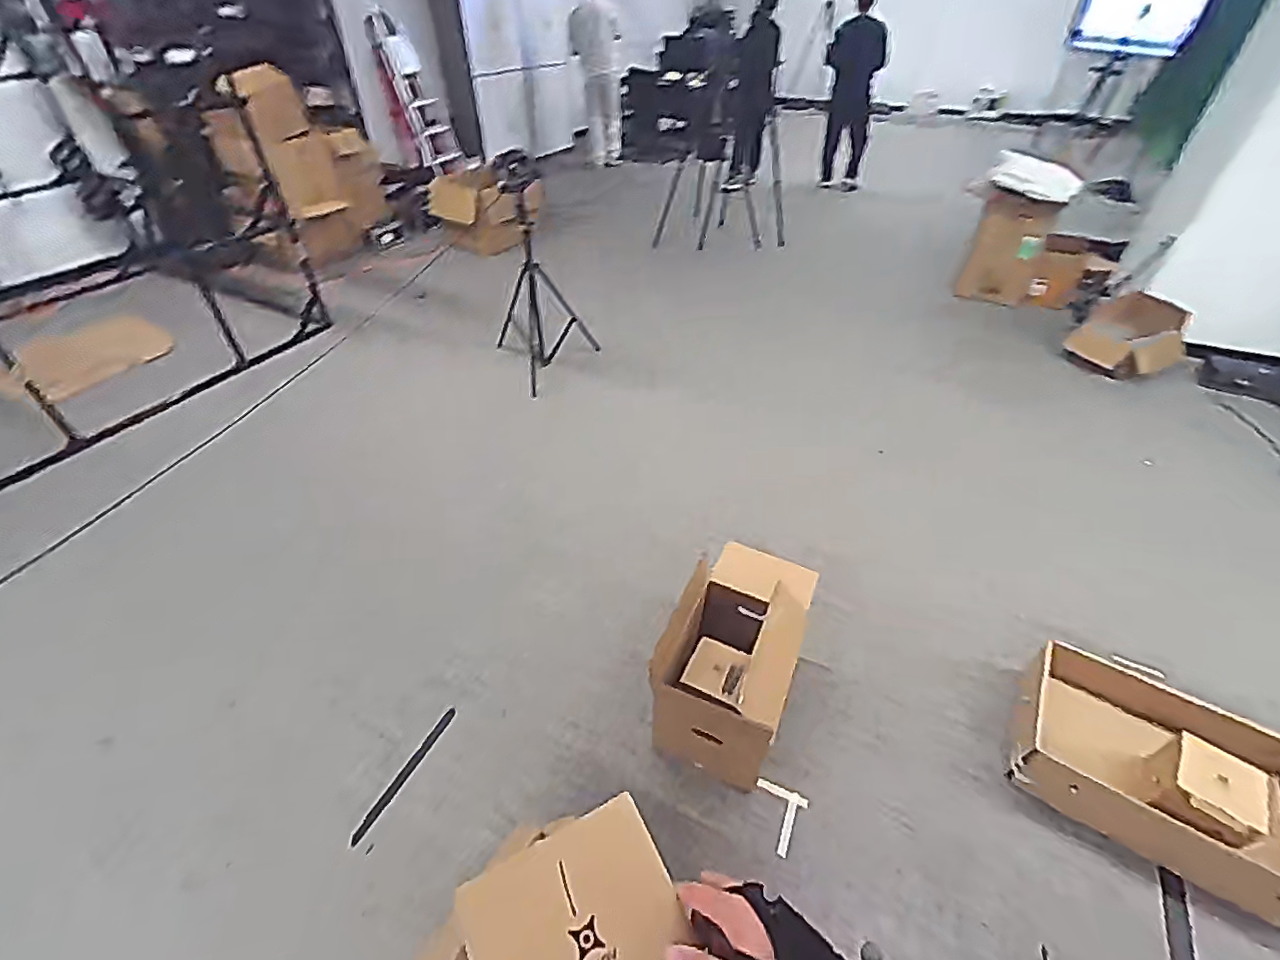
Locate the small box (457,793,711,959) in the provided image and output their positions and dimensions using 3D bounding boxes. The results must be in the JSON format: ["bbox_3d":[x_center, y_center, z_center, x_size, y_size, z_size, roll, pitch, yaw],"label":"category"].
[{"bbox_3d":[-0.050,0.418,0.472,0.168,0.176,0.179,-15,51,-27],"label":"small box"}]

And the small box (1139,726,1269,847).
[{"bbox_3d":[1.392,0.764,1.343,0.168,0.176,0.179,30,51,30],"label":"small box"}]
